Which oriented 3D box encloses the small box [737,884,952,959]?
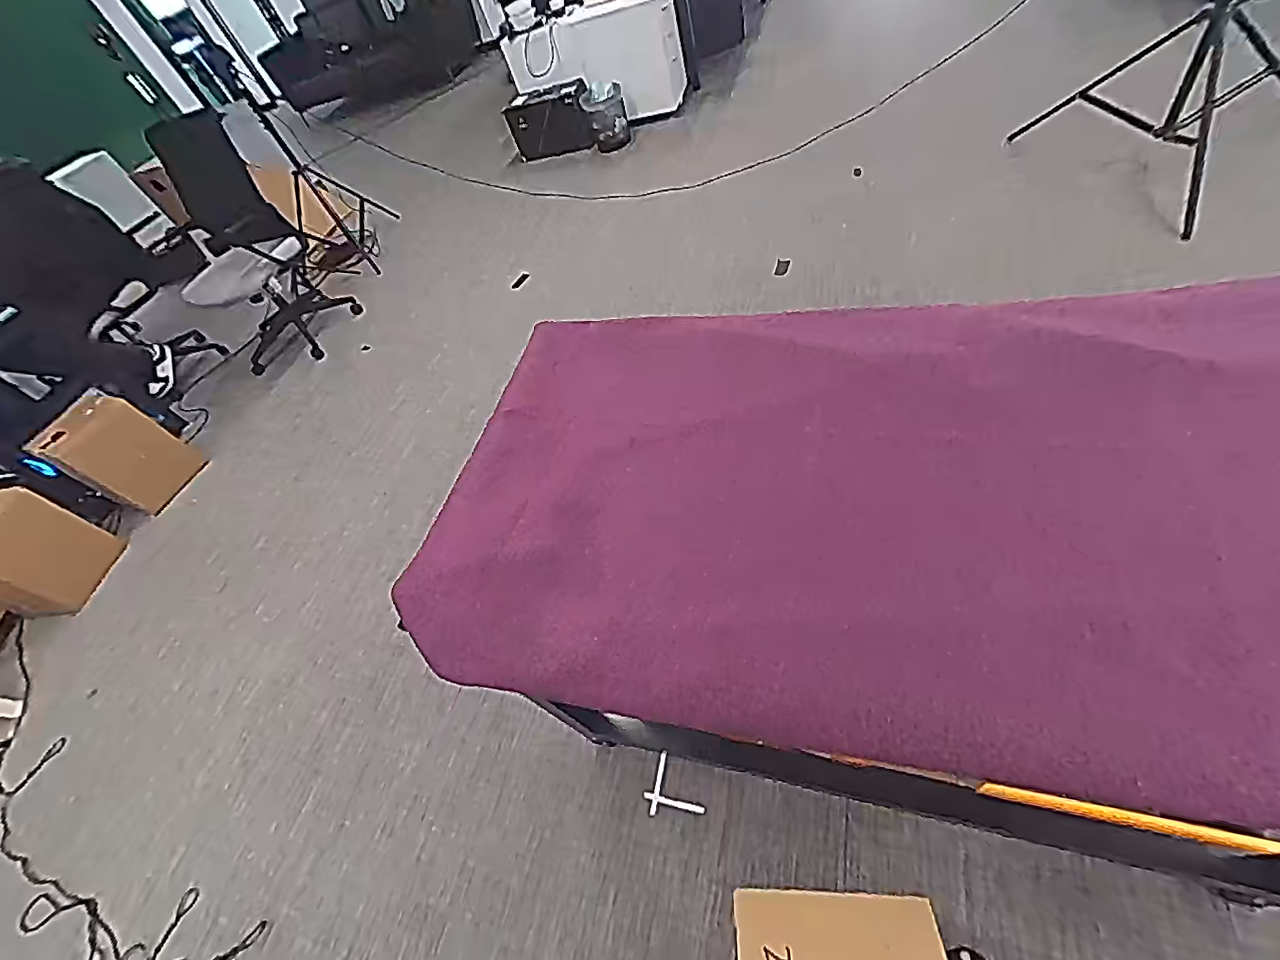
[{"bbox_3d":[0.176,0.484,0.460,0.179,0.176,0.168,-4,28,10],"label":"small box"}]
